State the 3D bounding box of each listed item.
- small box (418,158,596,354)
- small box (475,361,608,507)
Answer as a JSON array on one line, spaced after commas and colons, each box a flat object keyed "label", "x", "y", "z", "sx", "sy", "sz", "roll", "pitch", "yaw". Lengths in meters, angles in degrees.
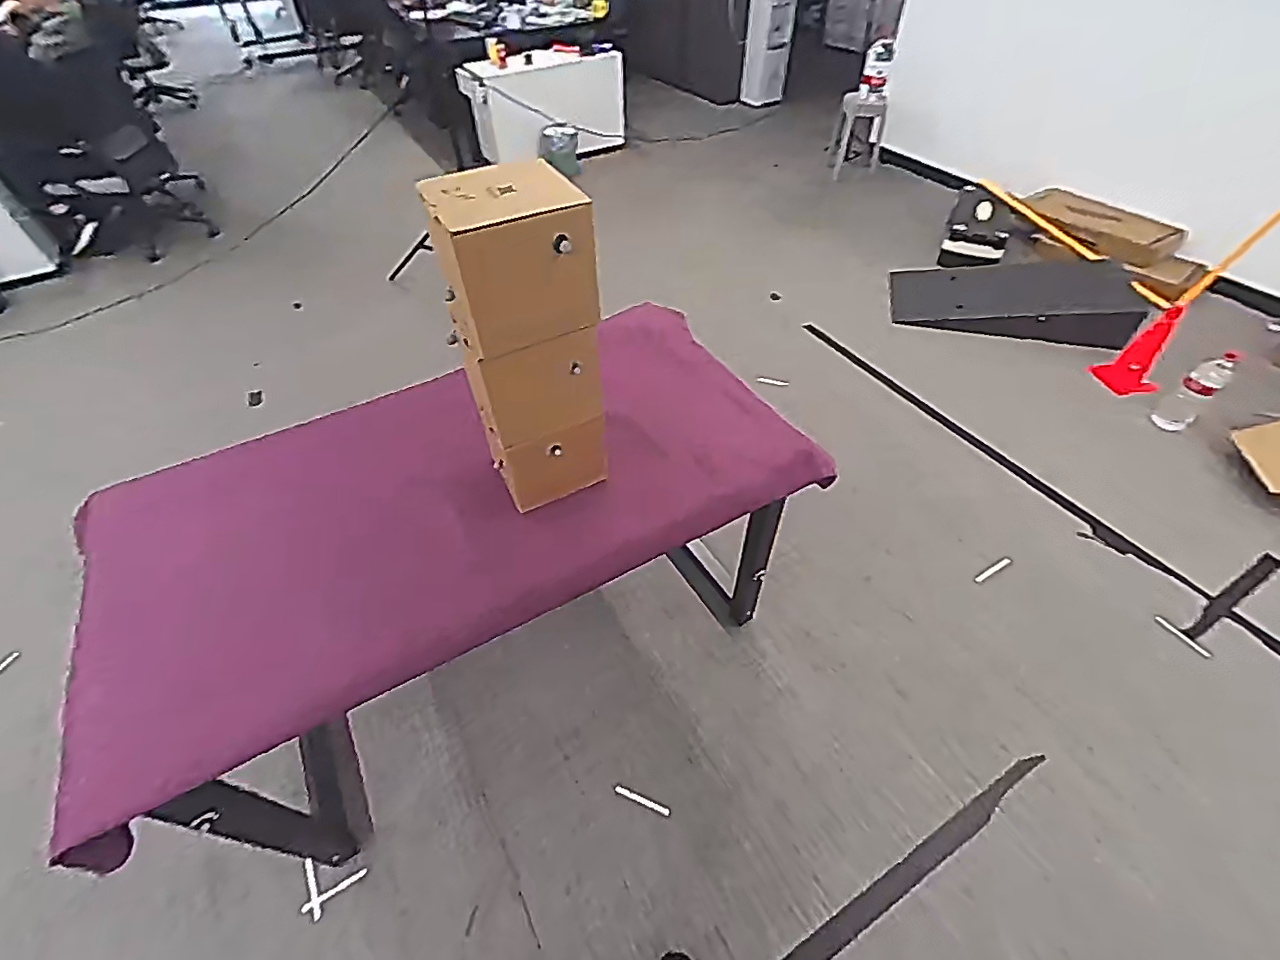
[{"label": "small box", "x": -0.167, "y": -0.298, "z": 0.720, "sx": 0.179, "sy": 0.176, "sz": 0.168, "roll": -24, "pitch": 52, "yaw": -17}, {"label": "small box", "x": -0.170, "y": -0.079, "z": 0.967, "sx": 0.179, "sy": 0.176, "sz": 0.168, "roll": -23, "pitch": 53, "yaw": -18}]
